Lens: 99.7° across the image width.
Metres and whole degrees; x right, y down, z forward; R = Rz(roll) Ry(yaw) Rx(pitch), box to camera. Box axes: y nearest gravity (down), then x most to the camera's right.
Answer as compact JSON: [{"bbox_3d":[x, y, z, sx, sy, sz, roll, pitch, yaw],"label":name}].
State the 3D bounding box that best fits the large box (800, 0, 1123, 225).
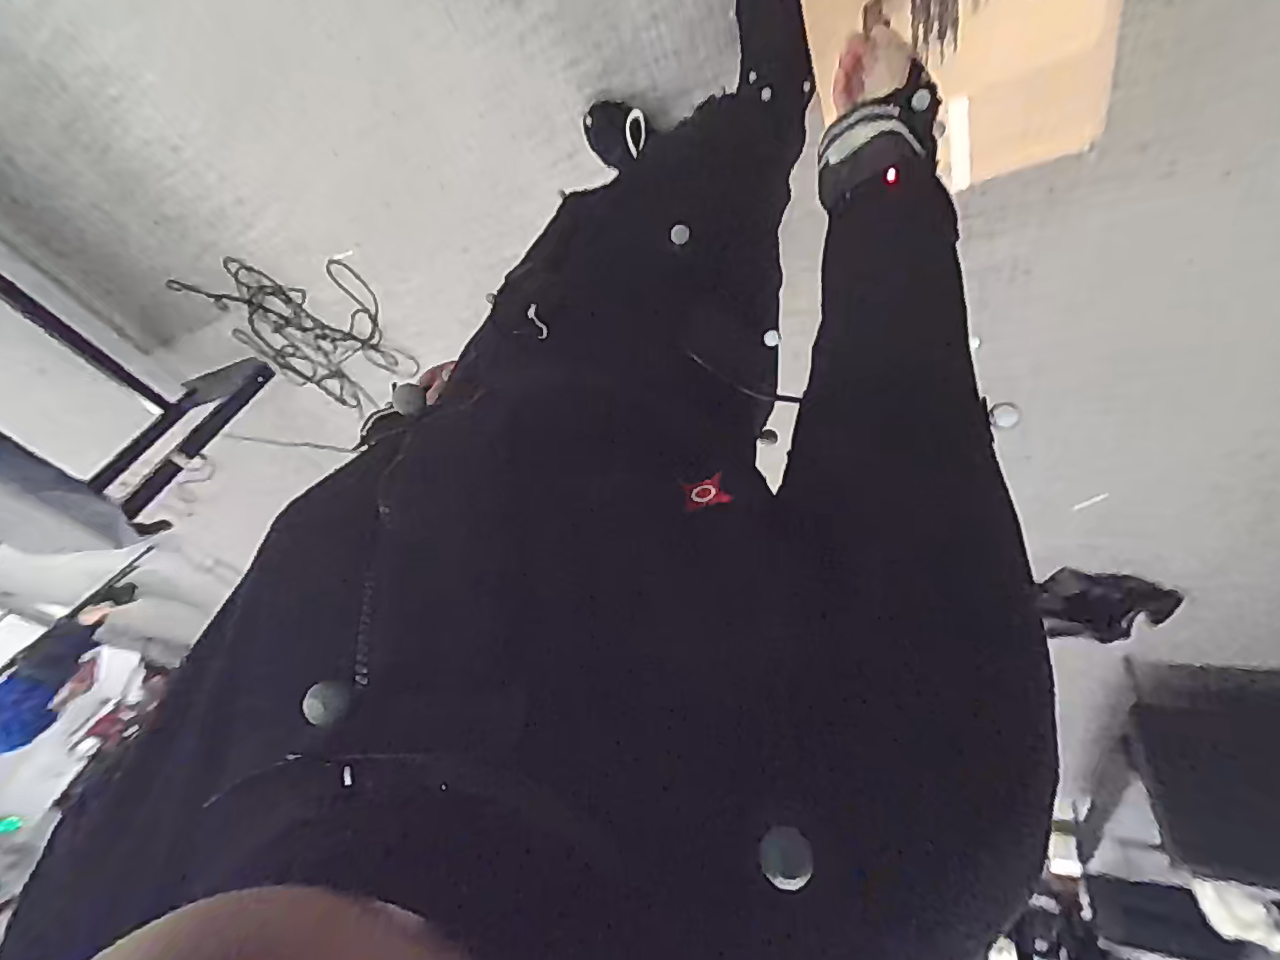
[{"bbox_3d":[0.394,-0.639,0.705,0.320,0.320,0.408,-6,138,28],"label":"large box"}]
